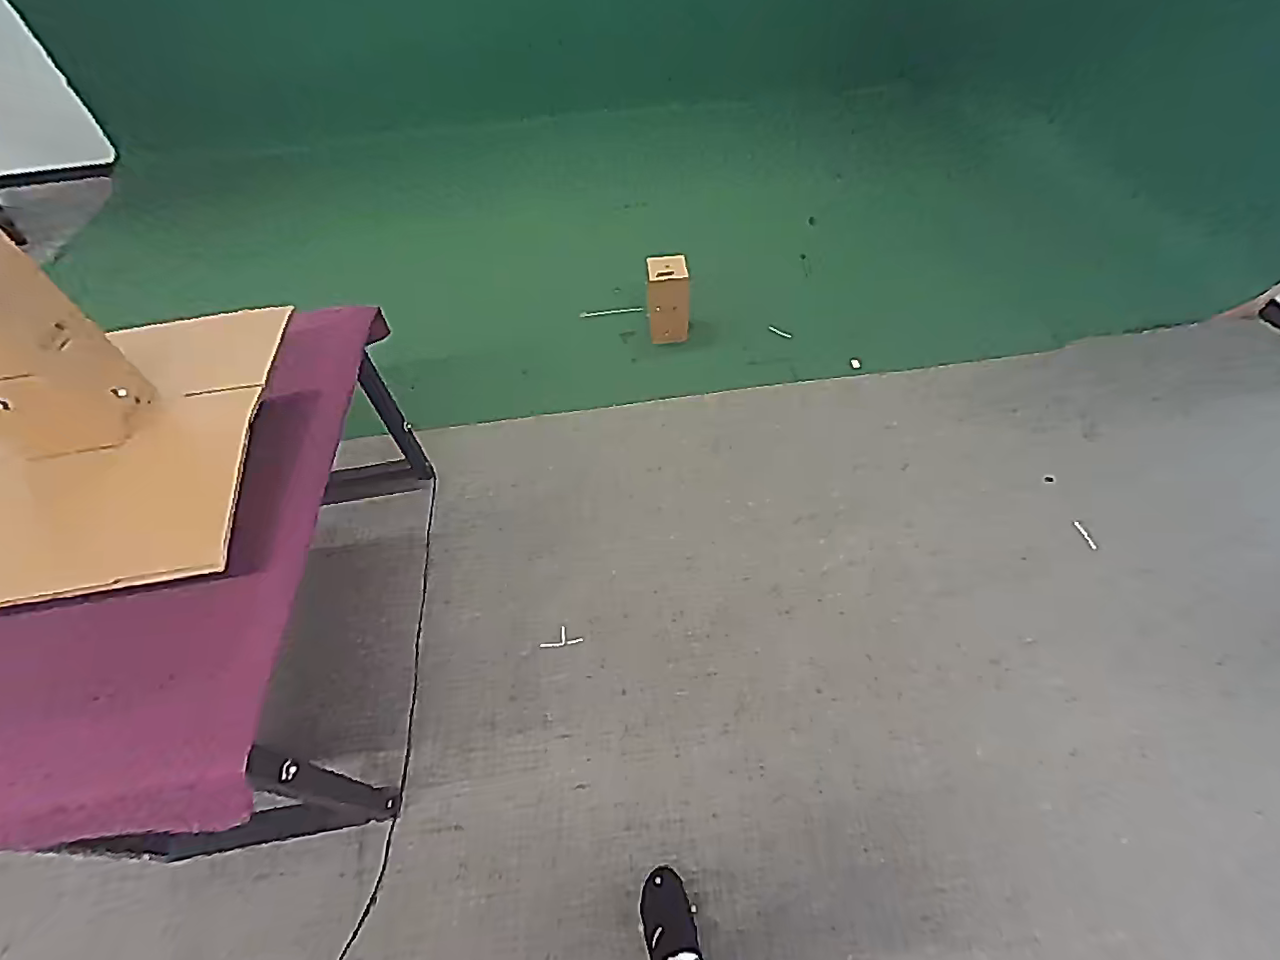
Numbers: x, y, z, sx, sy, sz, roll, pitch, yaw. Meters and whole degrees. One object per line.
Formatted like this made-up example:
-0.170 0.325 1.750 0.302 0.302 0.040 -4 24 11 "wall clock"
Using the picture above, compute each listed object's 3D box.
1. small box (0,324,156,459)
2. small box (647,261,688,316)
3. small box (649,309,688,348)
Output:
-1.049 -0.154 0.974 0.179 0.176 0.168 -9 50 -4 "small box"
0.120 -0.833 2.370 0.168 0.176 0.179 -5 52 -1 "small box"
0.127 -0.733 2.499 0.168 0.176 0.179 -6 52 -2 "small box"
